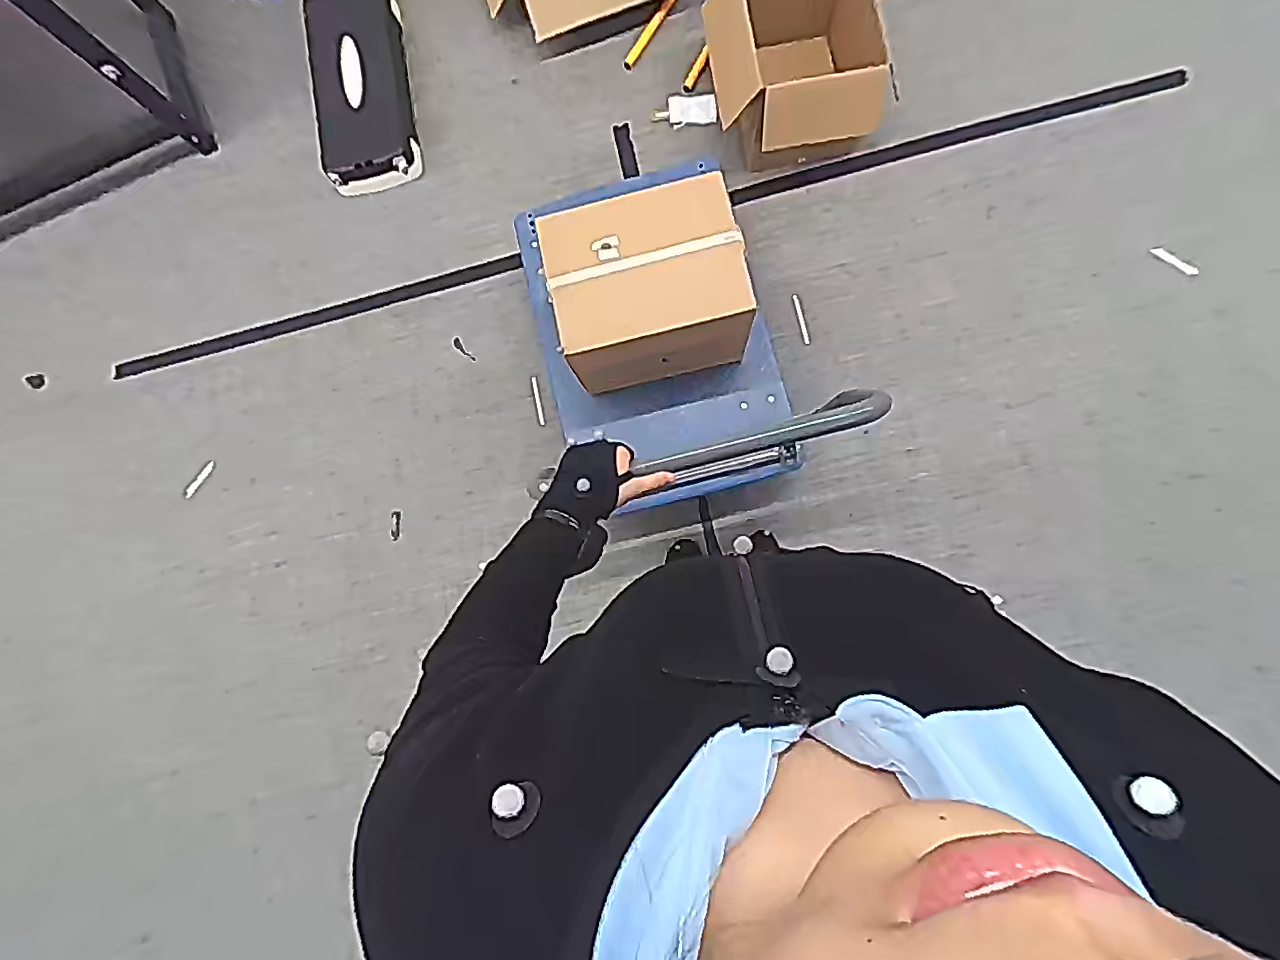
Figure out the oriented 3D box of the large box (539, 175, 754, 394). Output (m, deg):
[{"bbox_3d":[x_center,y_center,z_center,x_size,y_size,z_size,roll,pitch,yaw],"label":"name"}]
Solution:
[{"bbox_3d":[0.023,-0.429,1.272,0.408,0.320,0.320,-13,81,5],"label":"large box"}]
